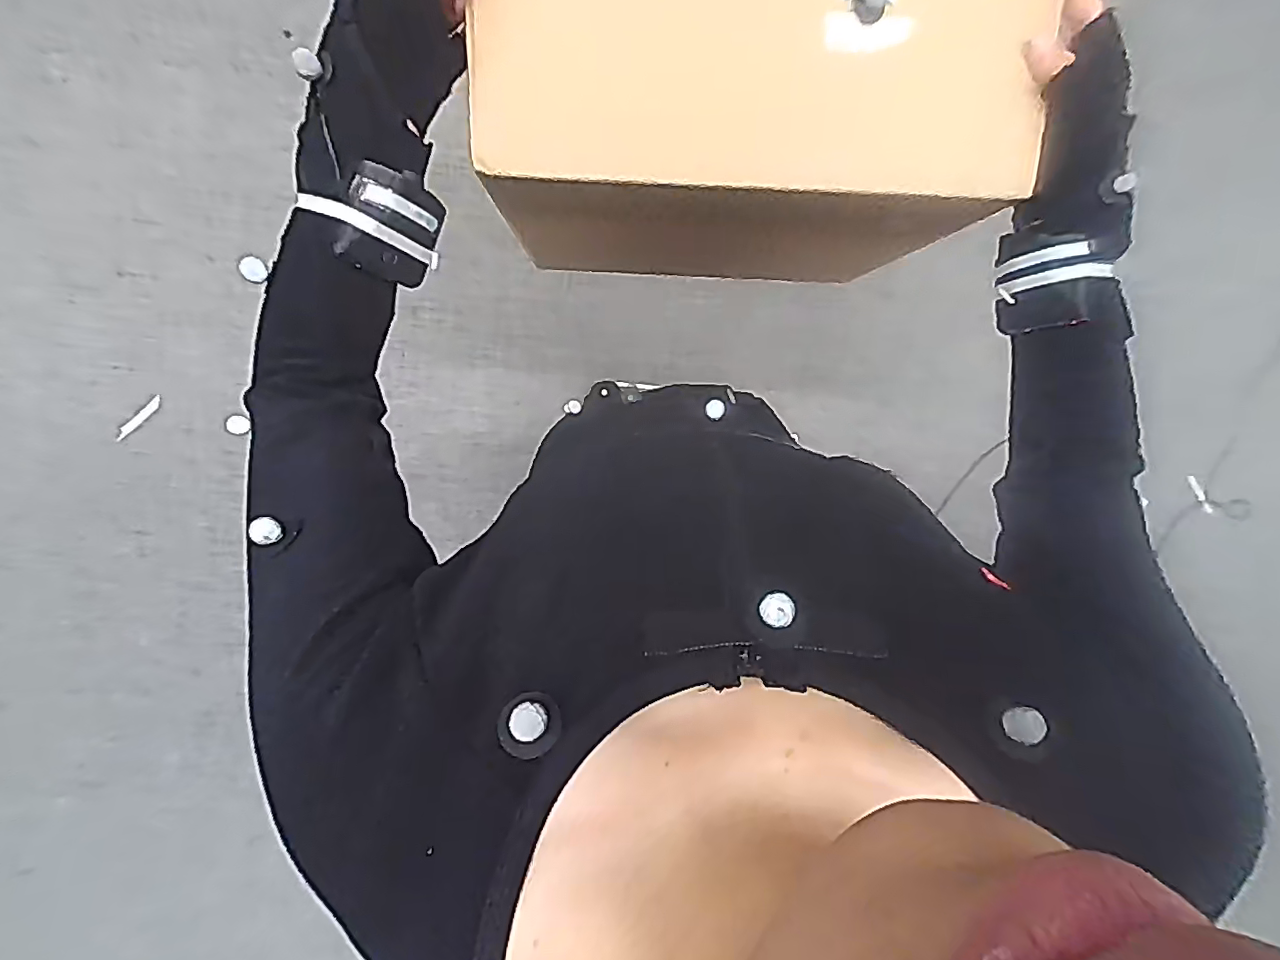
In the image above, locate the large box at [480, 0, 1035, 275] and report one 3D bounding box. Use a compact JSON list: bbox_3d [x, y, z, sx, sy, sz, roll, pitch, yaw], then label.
[{"bbox_3d":[0.077,-0.394,0.522,0.408,0.320,0.320,1,99,-4],"label":"large box"}]
